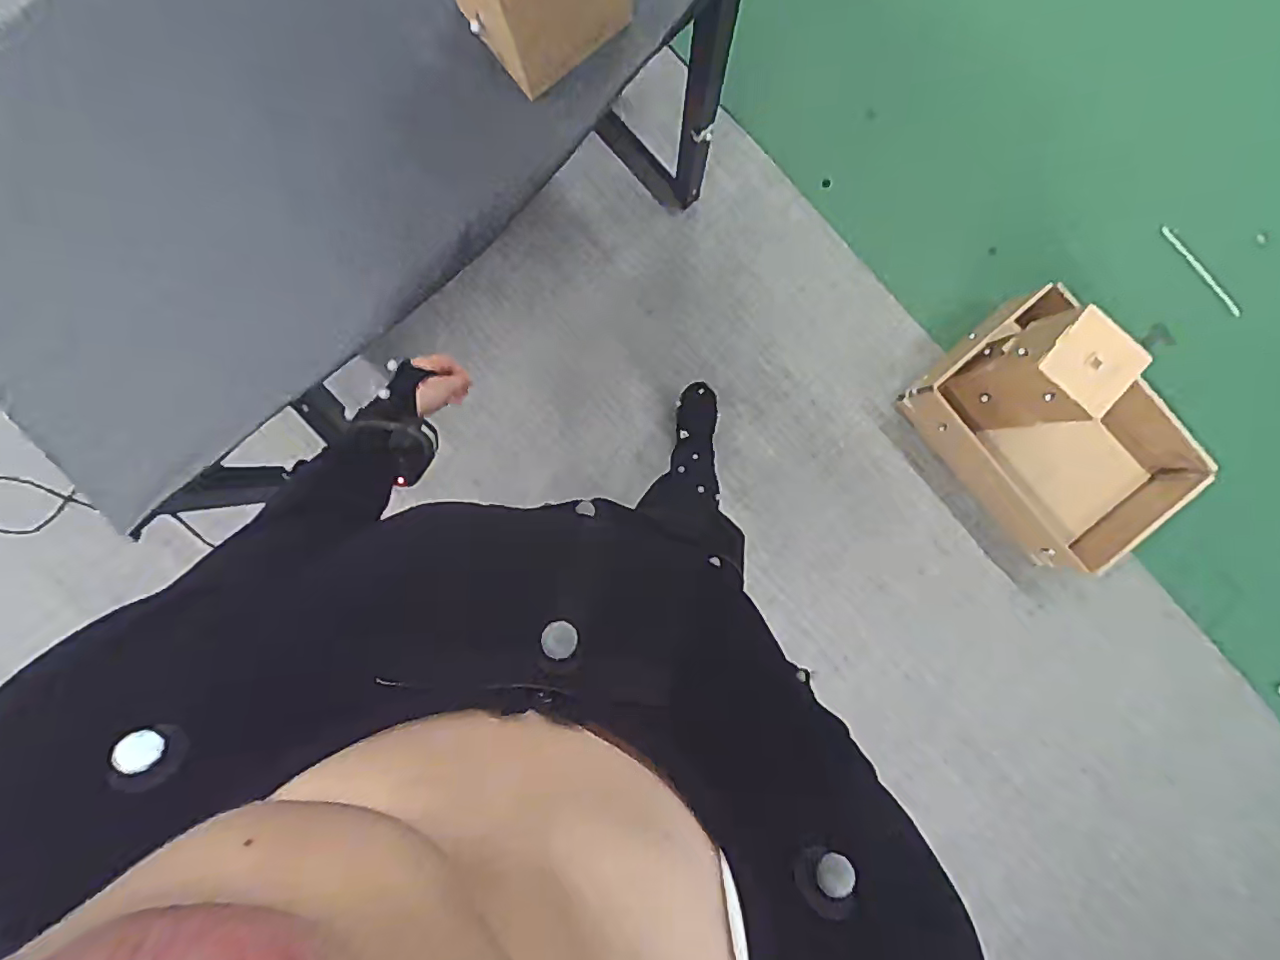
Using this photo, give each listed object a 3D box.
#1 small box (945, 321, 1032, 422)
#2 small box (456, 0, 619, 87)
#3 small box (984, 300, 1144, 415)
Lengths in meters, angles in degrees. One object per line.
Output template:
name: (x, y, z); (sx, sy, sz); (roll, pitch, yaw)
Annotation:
small box: (0.907, -0.258, 1.338); (0.168, 0.176, 0.179); (-40, 92, 2)
small box: (-0.133, -0.624, 0.628); (0.179, 0.176, 0.168); (-38, 90, 2)
small box: (0.905, -0.253, 1.174); (0.179, 0.176, 0.168); (40, 93, -4)
